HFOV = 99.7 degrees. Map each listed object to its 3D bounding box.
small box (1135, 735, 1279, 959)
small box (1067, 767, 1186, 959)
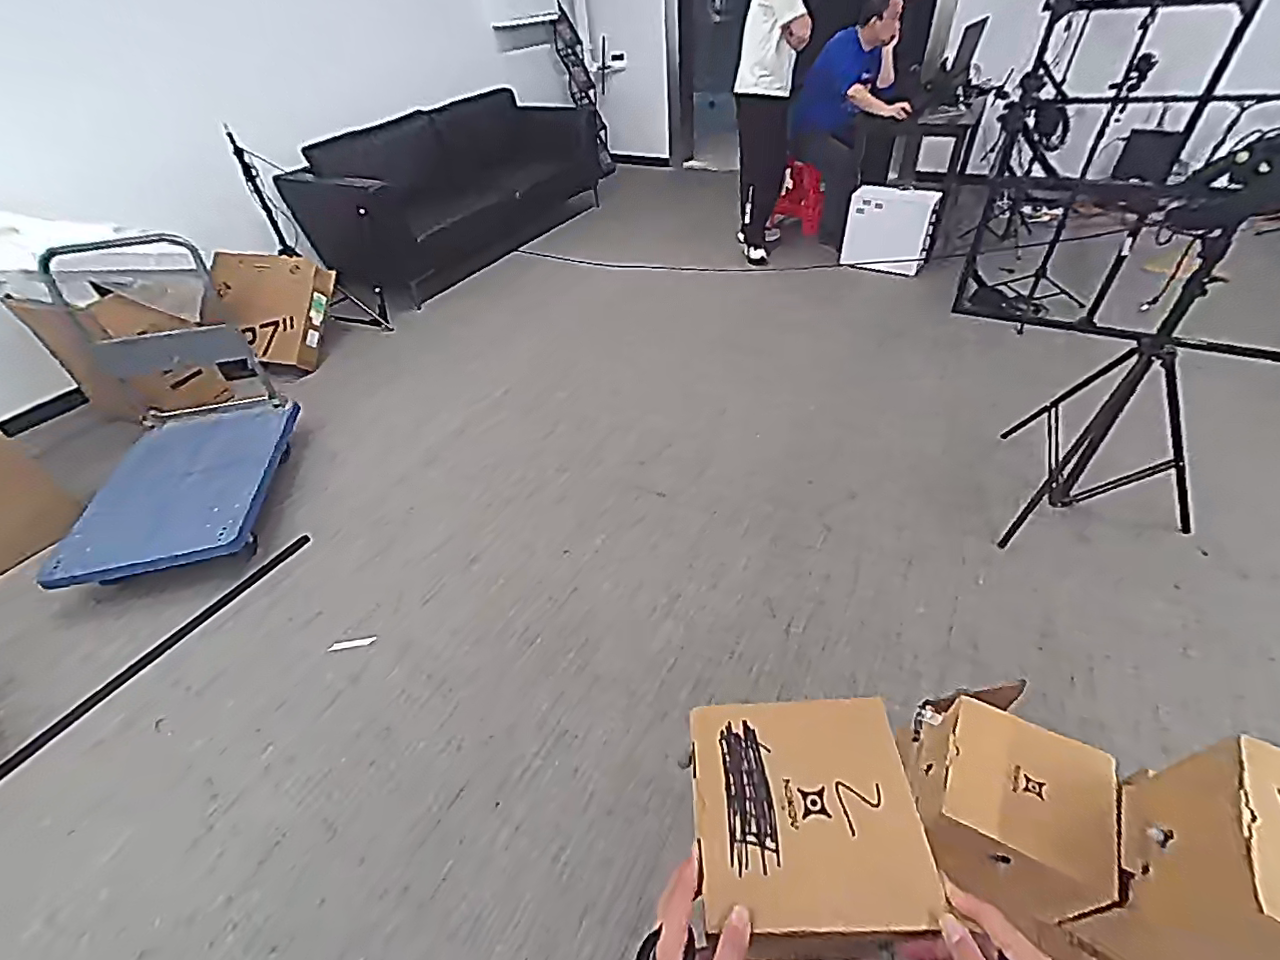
[{"bbox_3d":[0.609,0.378,0.494,0.179,0.176,0.168,22,51,25],"label":"small box"},{"bbox_3d":[0.637,0.481,0.622,0.179,0.176,0.168,26,53,27],"label":"small box"}]
